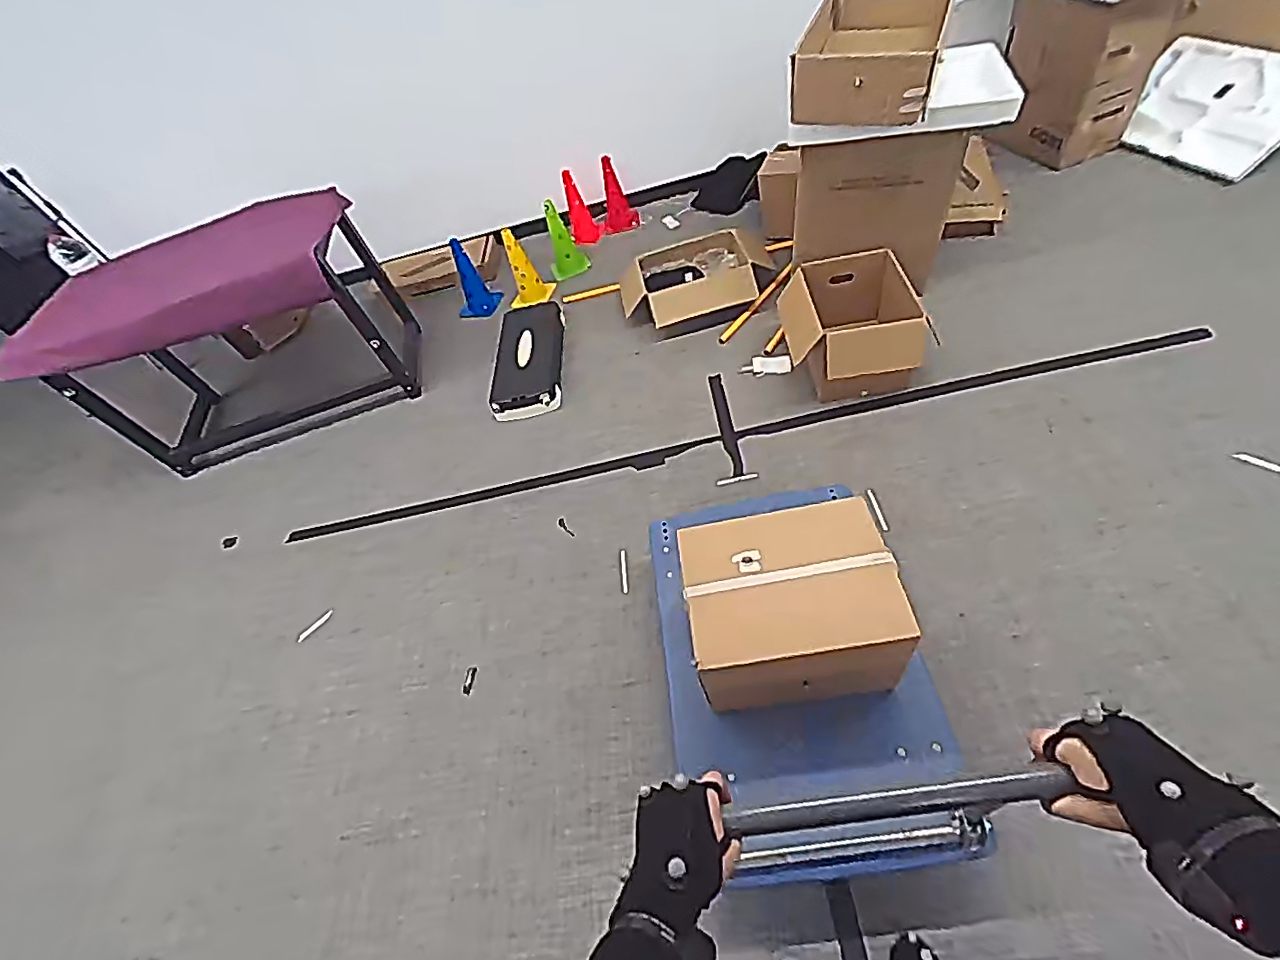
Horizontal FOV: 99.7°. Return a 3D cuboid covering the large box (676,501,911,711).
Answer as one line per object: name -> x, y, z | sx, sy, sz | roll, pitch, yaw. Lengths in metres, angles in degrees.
large box -> 0.321, 0.292, 1.207 | 0.408, 0.320, 0.320 | -12, 50, 7
